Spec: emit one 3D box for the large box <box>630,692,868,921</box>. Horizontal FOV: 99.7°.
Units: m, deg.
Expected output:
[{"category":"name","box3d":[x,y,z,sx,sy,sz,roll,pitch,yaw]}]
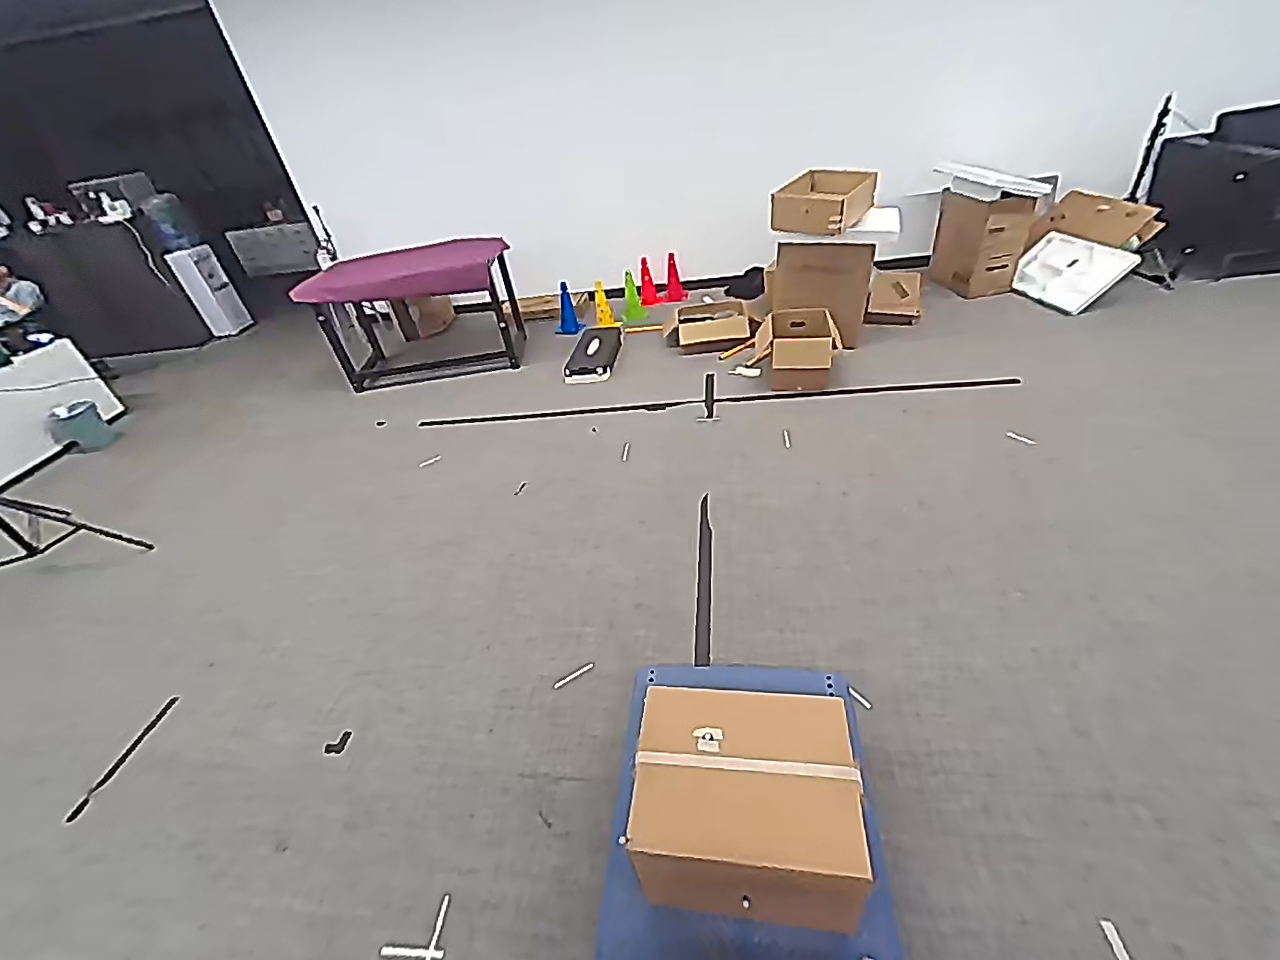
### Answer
[{"category":"large box","box3d":[0.217,0.664,1.114,0.408,0.320,0.320,-3,37,11]}]
